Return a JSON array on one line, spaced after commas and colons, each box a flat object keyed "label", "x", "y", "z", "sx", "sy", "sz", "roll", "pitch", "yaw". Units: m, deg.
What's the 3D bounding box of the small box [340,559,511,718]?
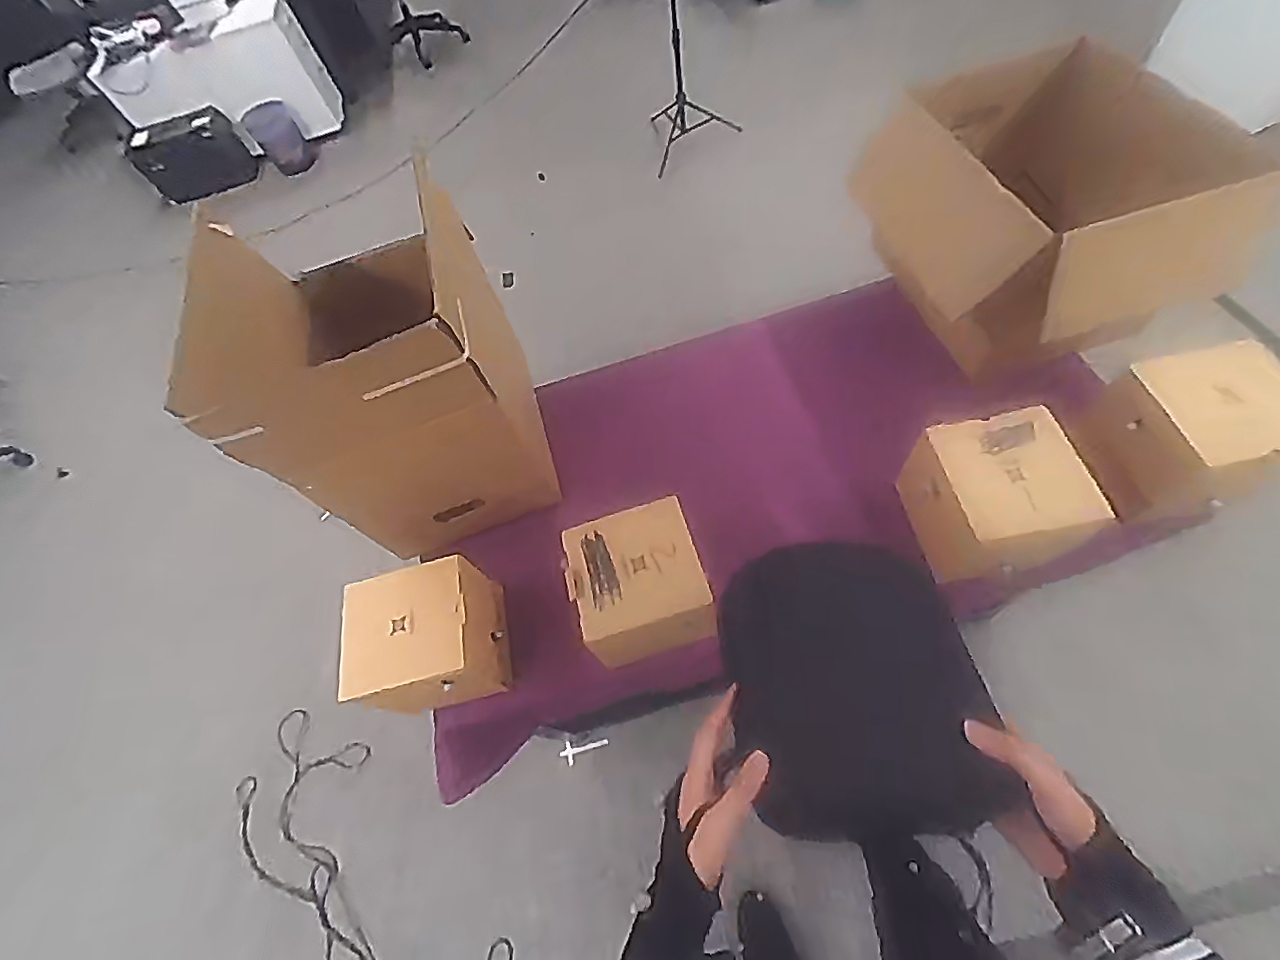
[{"label": "small box", "x": -0.310, "y": 0.243, "z": 0.805, "sx": 0.179, "sy": 0.176, "sz": 0.168, "roll": -16, "pitch": 59, "yaw": 0}]

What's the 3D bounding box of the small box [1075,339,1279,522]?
[{"label": "small box", "x": 0.773, "y": -0.064, "z": 0.762, "sx": 0.168, "sy": 0.176, "sz": 0.179, "roll": -12, "pitch": 59, "yaw": 6}]
